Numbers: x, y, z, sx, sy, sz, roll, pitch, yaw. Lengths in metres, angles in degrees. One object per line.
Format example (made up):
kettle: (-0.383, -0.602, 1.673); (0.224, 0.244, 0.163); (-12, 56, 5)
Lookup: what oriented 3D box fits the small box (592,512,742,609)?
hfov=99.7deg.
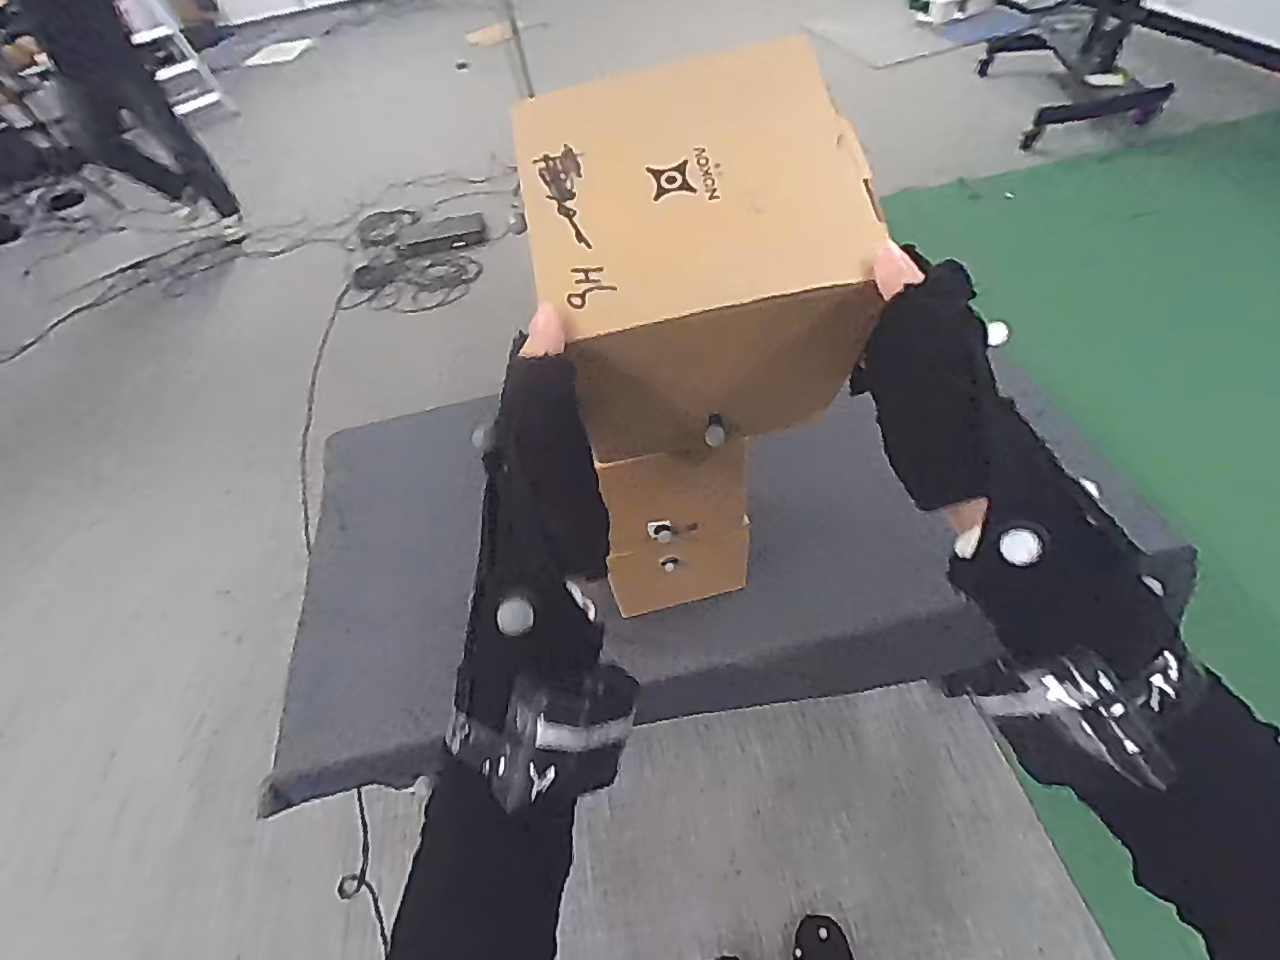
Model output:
small box: (0.031, 0.056, 0.738); (0.179, 0.176, 0.168); (-14, 53, -3)

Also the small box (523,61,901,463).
small box: (0.033, -0.124, 0.360); (0.179, 0.176, 0.168); (-10, 71, 0)

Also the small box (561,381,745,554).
small box: (0.013, -0.043, 0.612); (0.168, 0.176, 0.179); (-14, 54, 0)
